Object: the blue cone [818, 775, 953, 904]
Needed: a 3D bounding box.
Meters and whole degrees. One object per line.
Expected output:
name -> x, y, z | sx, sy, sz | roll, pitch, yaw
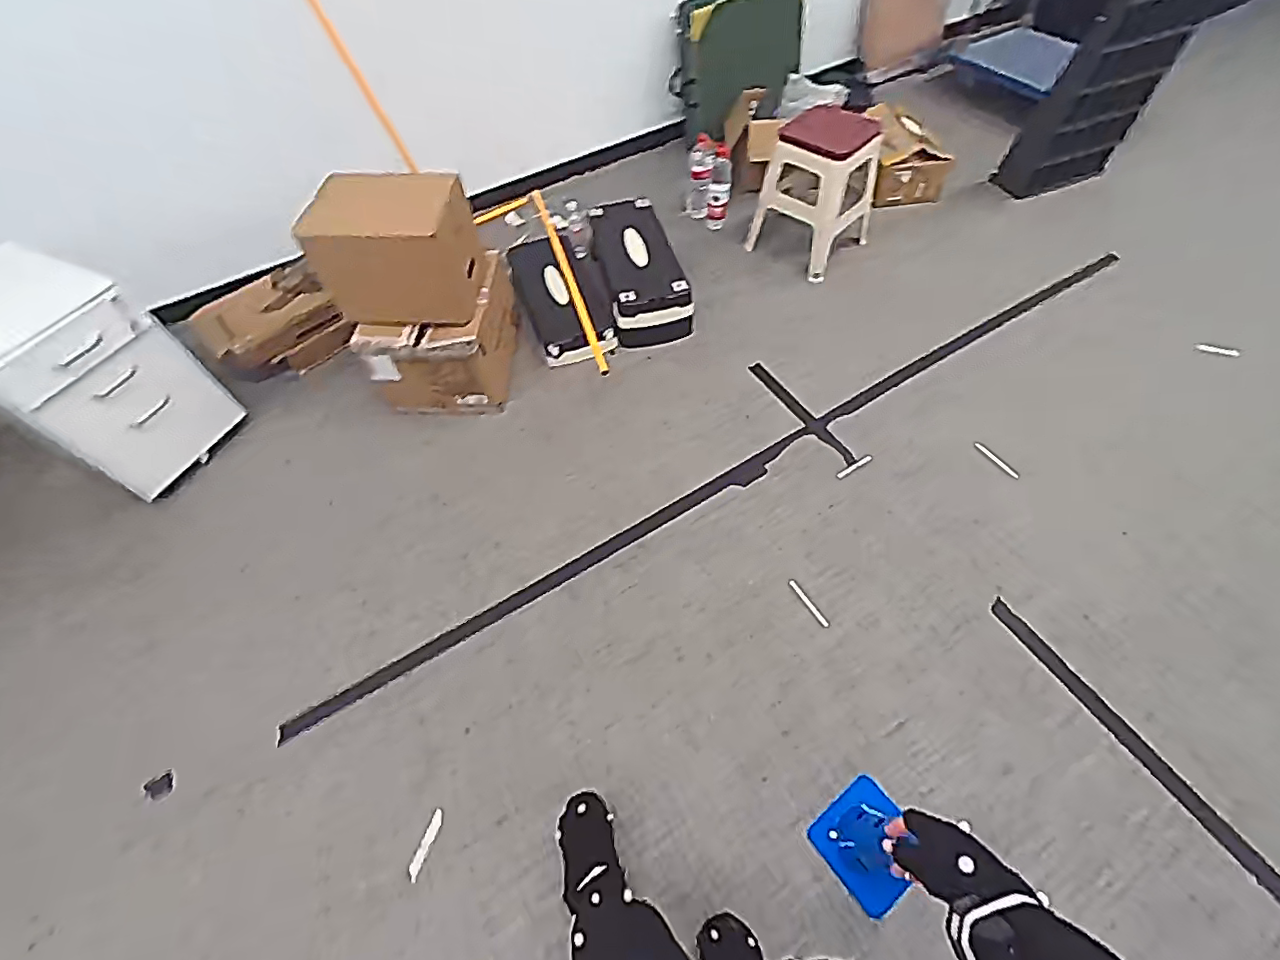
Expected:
blue cone -> 0.493, 0.678, 1.027 | 0.192, 0.380, 0.193 | -33, 60, -17
